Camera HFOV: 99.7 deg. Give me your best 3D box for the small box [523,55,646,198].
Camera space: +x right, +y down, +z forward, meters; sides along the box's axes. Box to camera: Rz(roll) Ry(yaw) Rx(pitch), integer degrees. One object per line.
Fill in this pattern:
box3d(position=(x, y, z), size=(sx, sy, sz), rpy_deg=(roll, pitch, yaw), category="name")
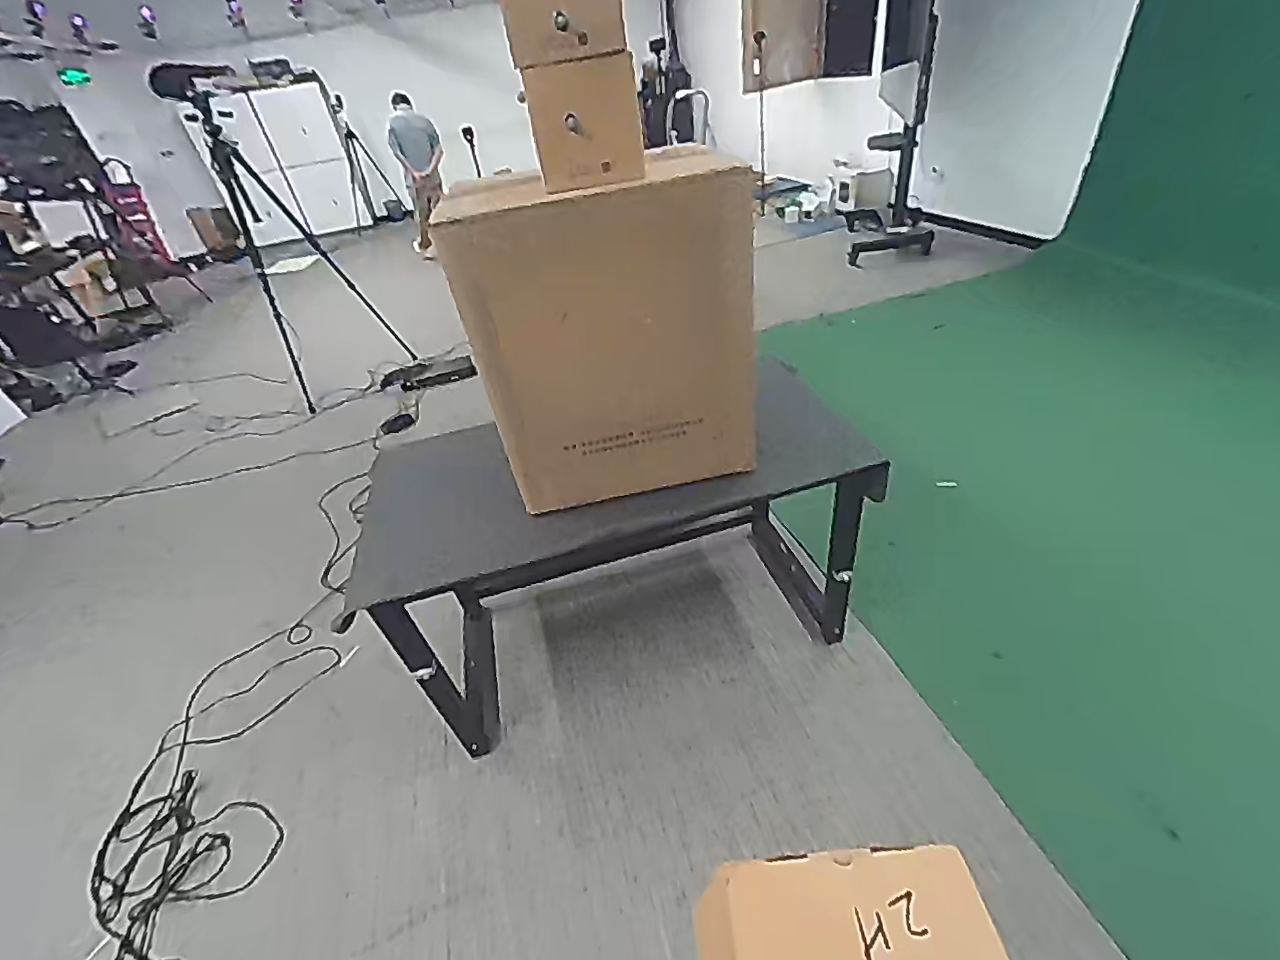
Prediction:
box3d(position=(-0.087, -0.578, 0.891), size=(0.168, 0.176, 0.179), rpy_deg=(-10, 39, -1), category="small box")
